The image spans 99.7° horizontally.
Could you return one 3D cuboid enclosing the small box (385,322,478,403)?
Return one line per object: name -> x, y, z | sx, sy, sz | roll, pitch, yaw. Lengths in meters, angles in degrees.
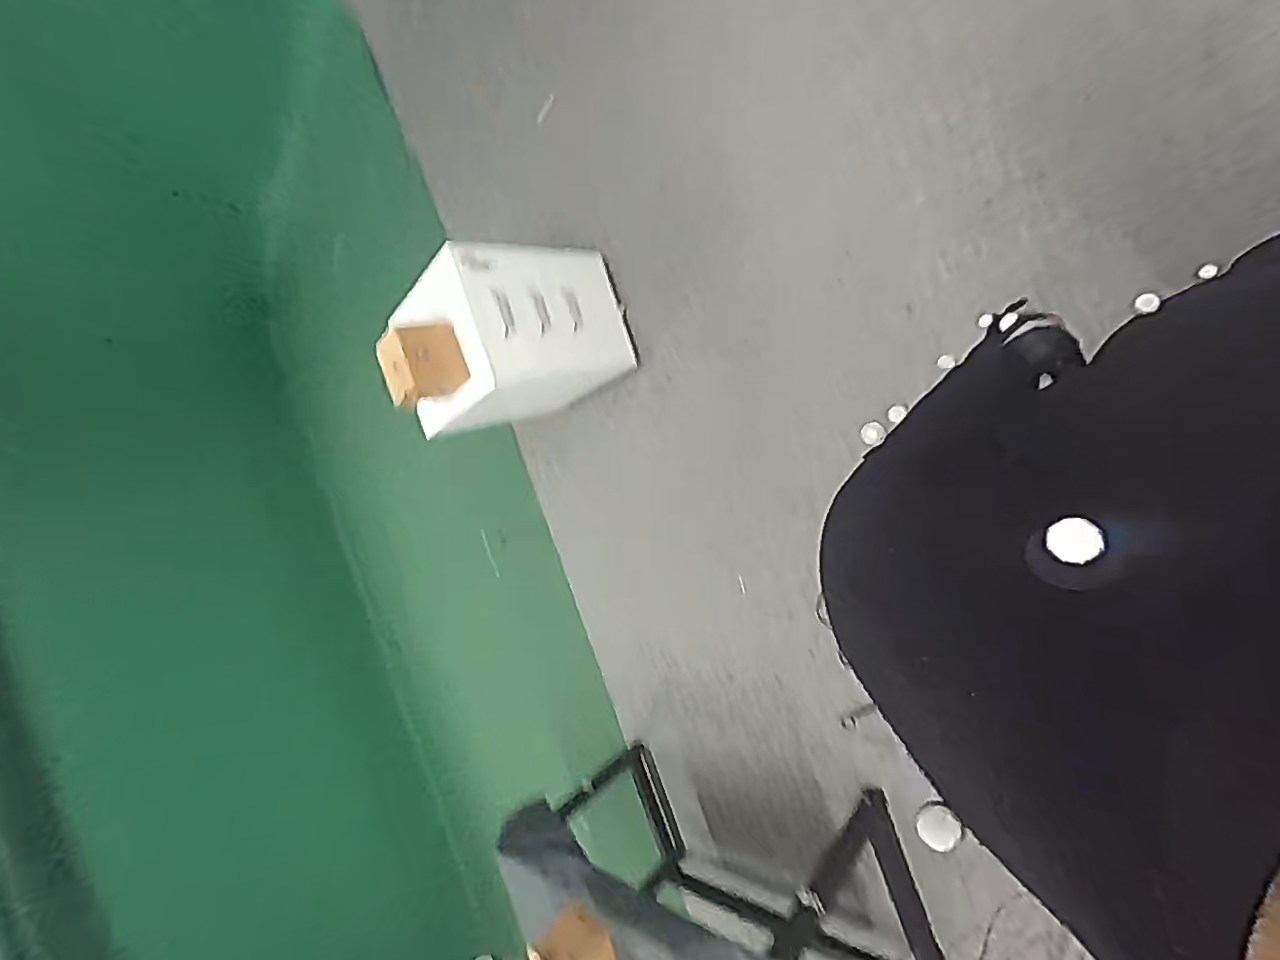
small box -> -0.588, -0.334, 1.529 | 0.168, 0.176, 0.179 | -20, 90, 47
